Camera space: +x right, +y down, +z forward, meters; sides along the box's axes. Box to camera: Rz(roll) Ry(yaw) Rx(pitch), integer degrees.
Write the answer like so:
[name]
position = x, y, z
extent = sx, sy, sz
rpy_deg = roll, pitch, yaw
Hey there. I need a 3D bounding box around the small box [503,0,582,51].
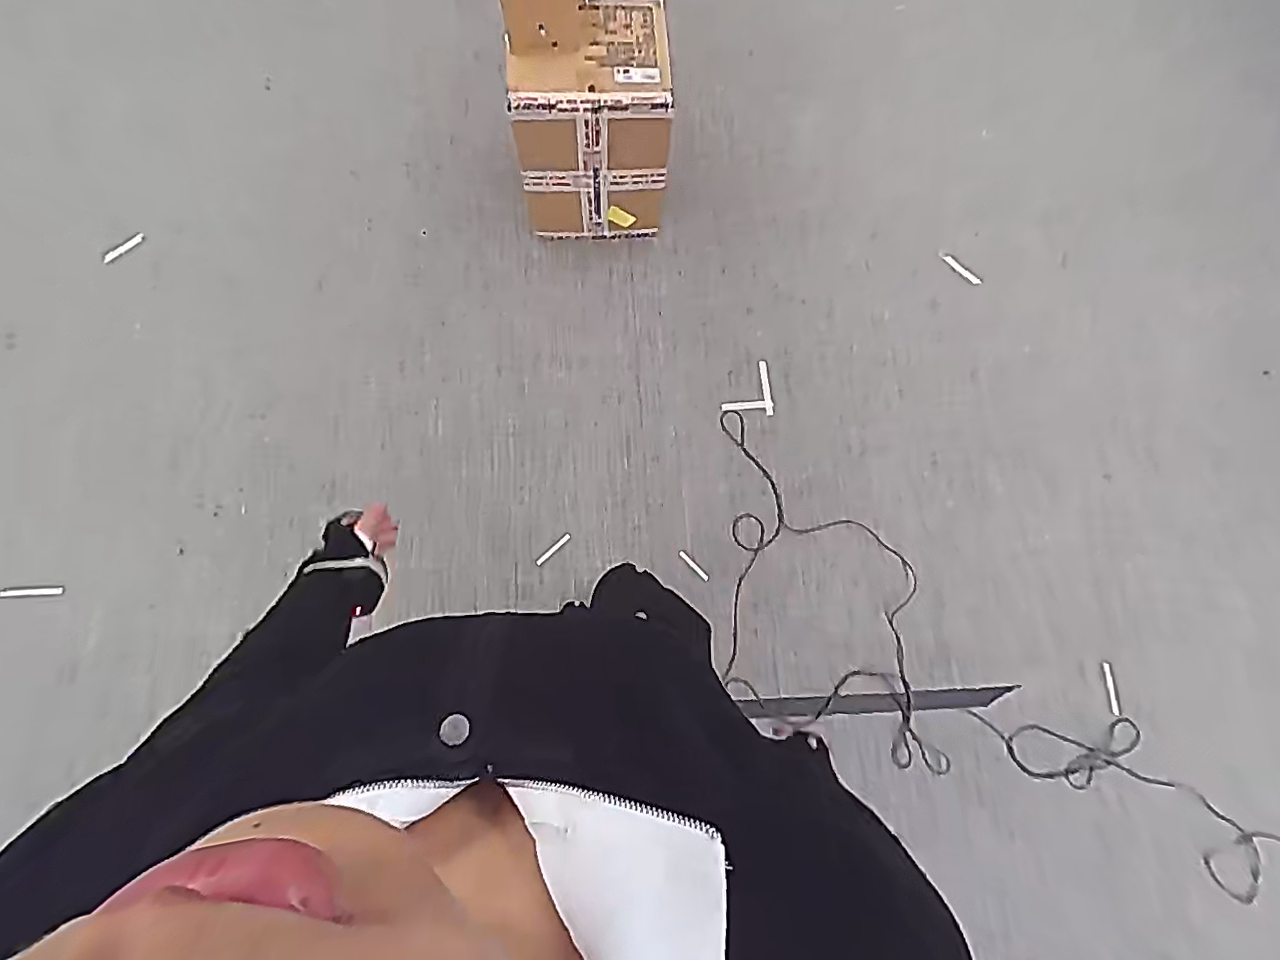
[small box]
position = -0.221, -1.103, 1.200
extent = 0.168, 0.176, 0.179
rpy_deg = -4, 81, -2
